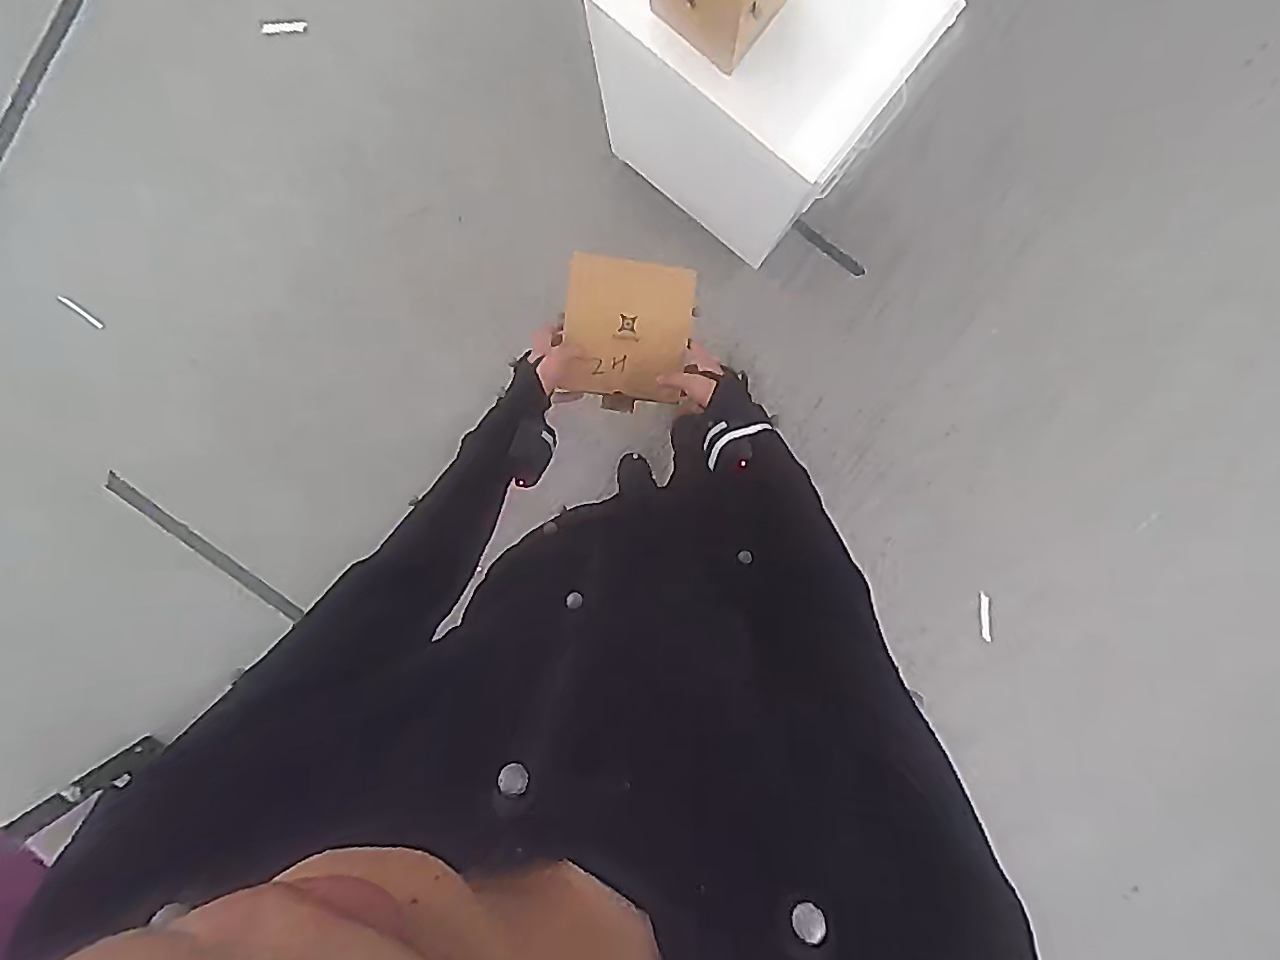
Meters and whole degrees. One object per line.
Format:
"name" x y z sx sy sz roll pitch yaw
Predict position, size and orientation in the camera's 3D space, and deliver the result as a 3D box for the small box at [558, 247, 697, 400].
"small box" -0.021 -0.217 0.784 0.168 0.176 0.179 7 101 -3
